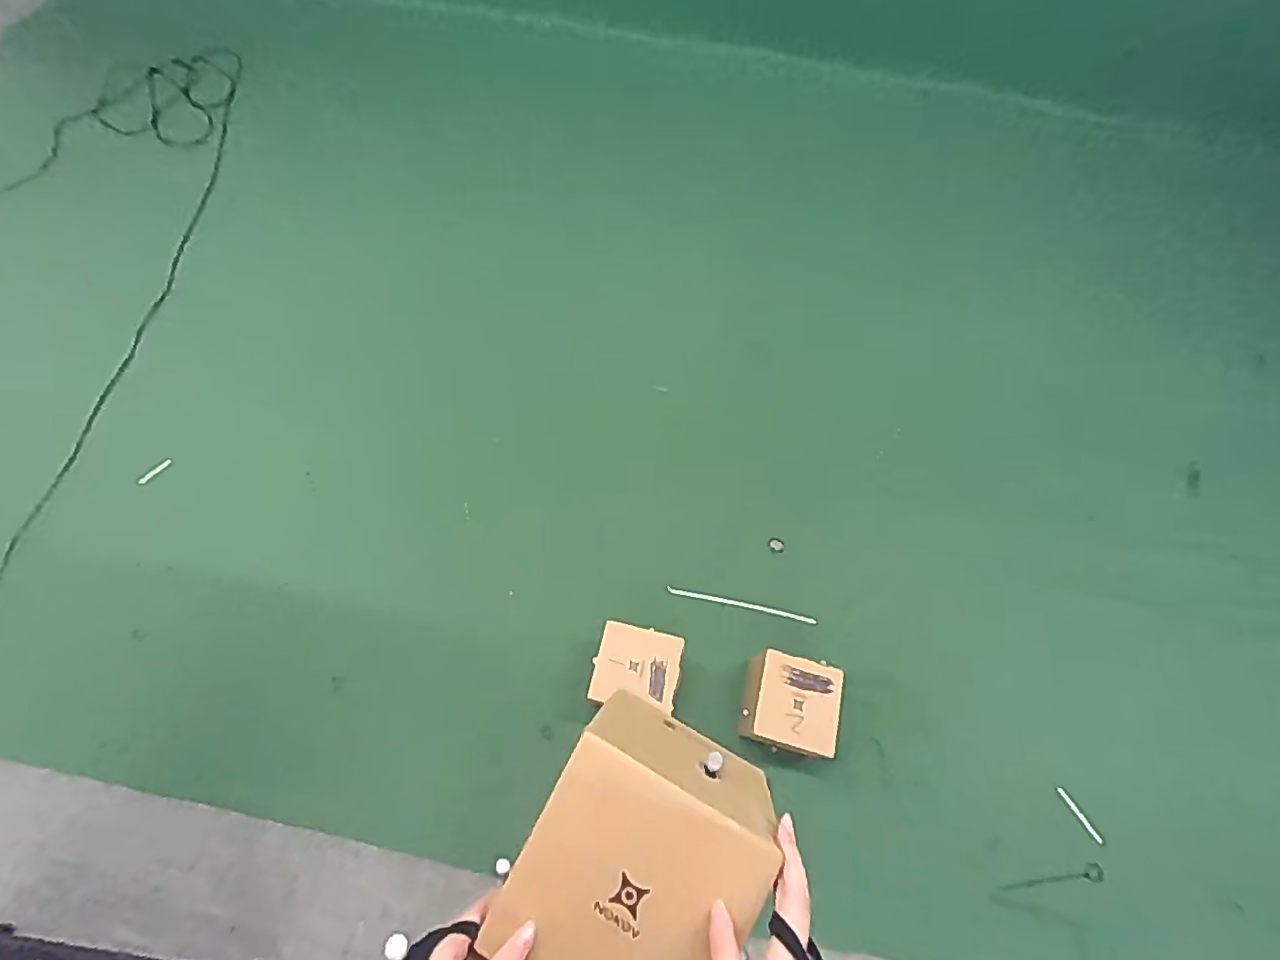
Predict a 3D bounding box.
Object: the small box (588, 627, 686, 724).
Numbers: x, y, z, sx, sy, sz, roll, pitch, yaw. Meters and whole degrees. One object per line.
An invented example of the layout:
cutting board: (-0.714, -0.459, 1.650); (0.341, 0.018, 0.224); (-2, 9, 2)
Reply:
small box: (-0.005, 0.440, 1.194); (0.179, 0.176, 0.168); (13, 64, 5)

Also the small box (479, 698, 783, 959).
small box: (0.000, 0.317, 0.465); (0.168, 0.176, 0.179); (27, 85, 11)
